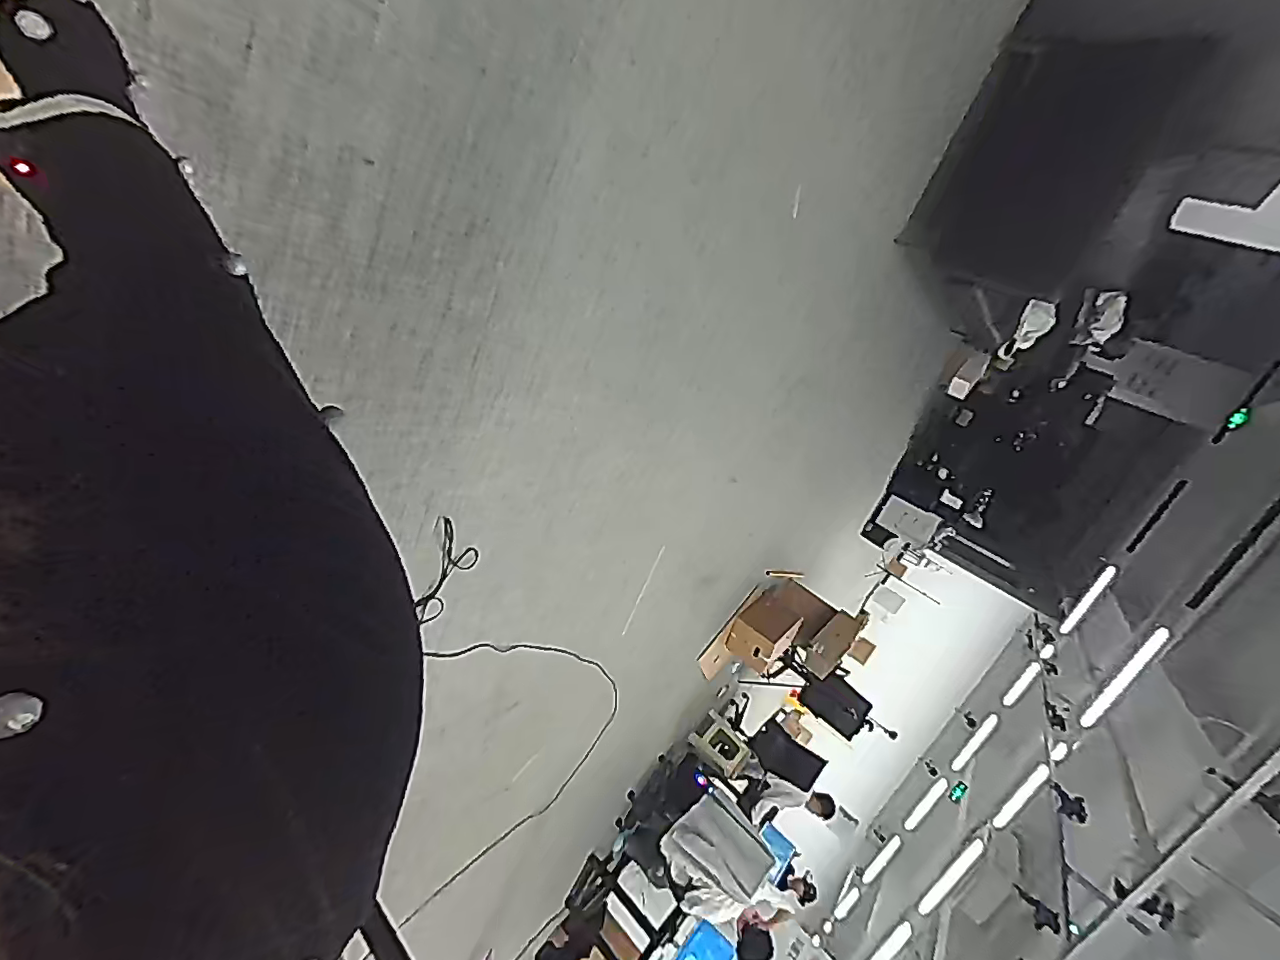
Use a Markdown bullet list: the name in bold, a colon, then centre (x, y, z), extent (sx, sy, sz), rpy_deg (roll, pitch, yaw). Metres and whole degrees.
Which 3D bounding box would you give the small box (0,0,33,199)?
- **small box**: centre (-0.606, -0.346, 0.409), extent (0.179, 0.176, 0.168), rpy_deg (-5, 123, -54)
